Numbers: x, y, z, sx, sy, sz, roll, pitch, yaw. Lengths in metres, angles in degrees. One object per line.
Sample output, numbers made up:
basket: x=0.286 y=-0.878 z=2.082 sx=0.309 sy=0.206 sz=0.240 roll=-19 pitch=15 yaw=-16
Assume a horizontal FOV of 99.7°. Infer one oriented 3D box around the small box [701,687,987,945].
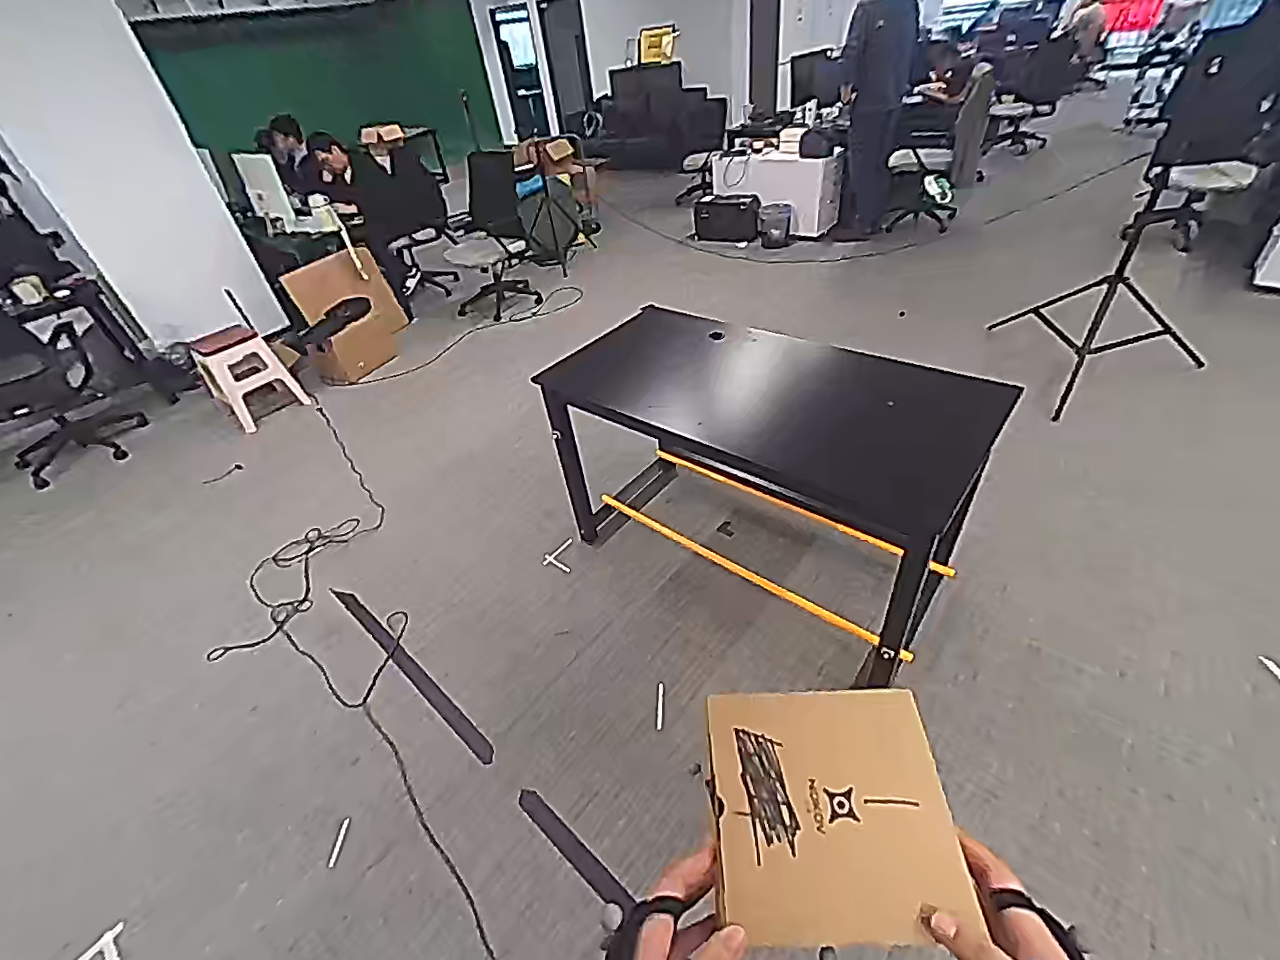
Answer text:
small box: x=0.144 y=0.289 z=0.465 sx=0.179 sy=0.176 sz=0.168 roll=-2 pitch=52 yaw=1
